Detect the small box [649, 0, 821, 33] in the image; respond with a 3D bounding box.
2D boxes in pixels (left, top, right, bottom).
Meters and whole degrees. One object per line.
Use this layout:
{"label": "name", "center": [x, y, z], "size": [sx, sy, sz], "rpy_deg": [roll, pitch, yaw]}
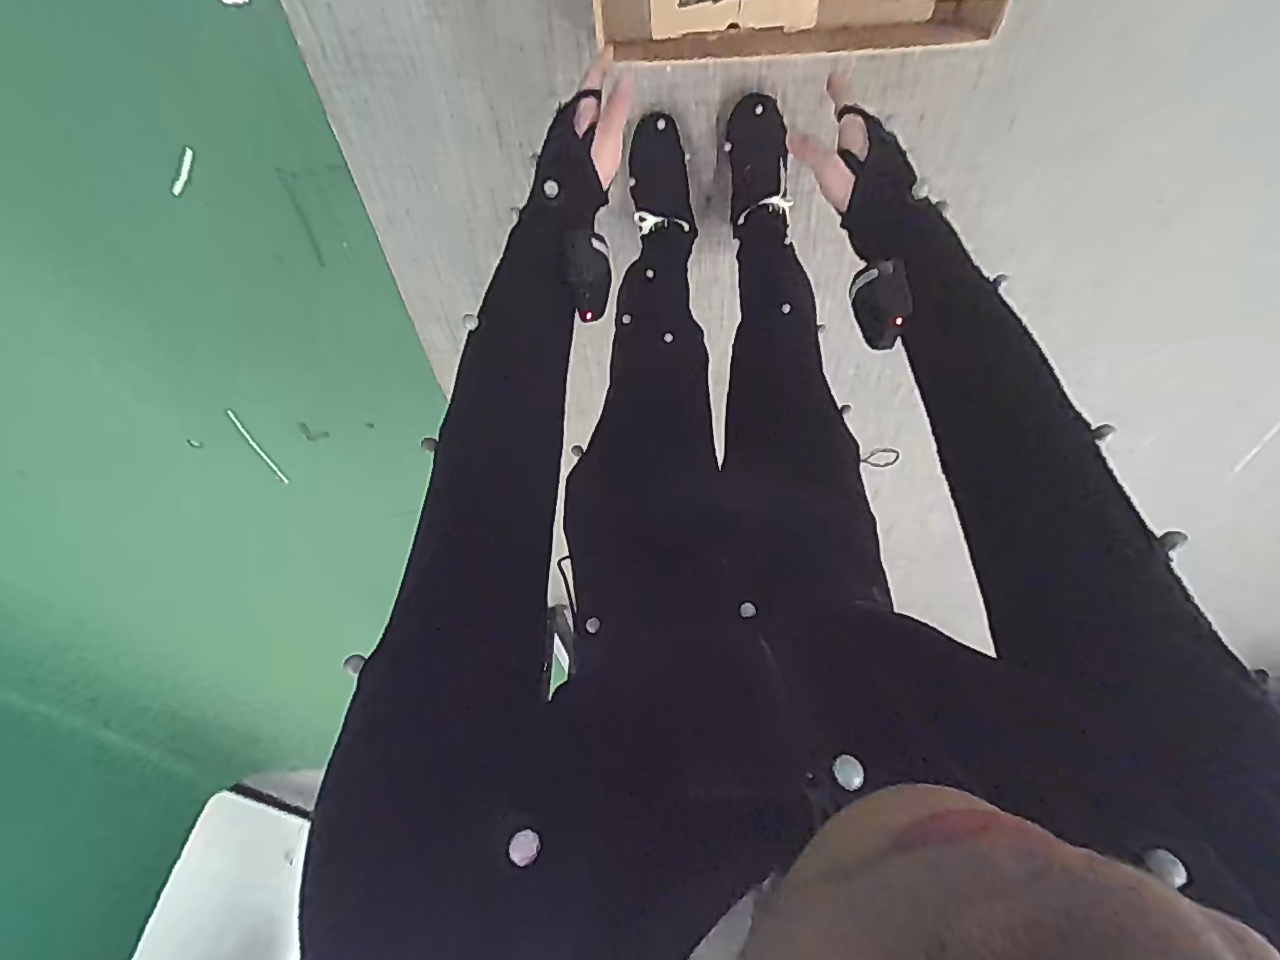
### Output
{"label": "small box", "center": [0.089, -0.560, 0.520], "size": [0.168, 0.176, 0.179], "rpy_deg": [-3, 137, 1]}
